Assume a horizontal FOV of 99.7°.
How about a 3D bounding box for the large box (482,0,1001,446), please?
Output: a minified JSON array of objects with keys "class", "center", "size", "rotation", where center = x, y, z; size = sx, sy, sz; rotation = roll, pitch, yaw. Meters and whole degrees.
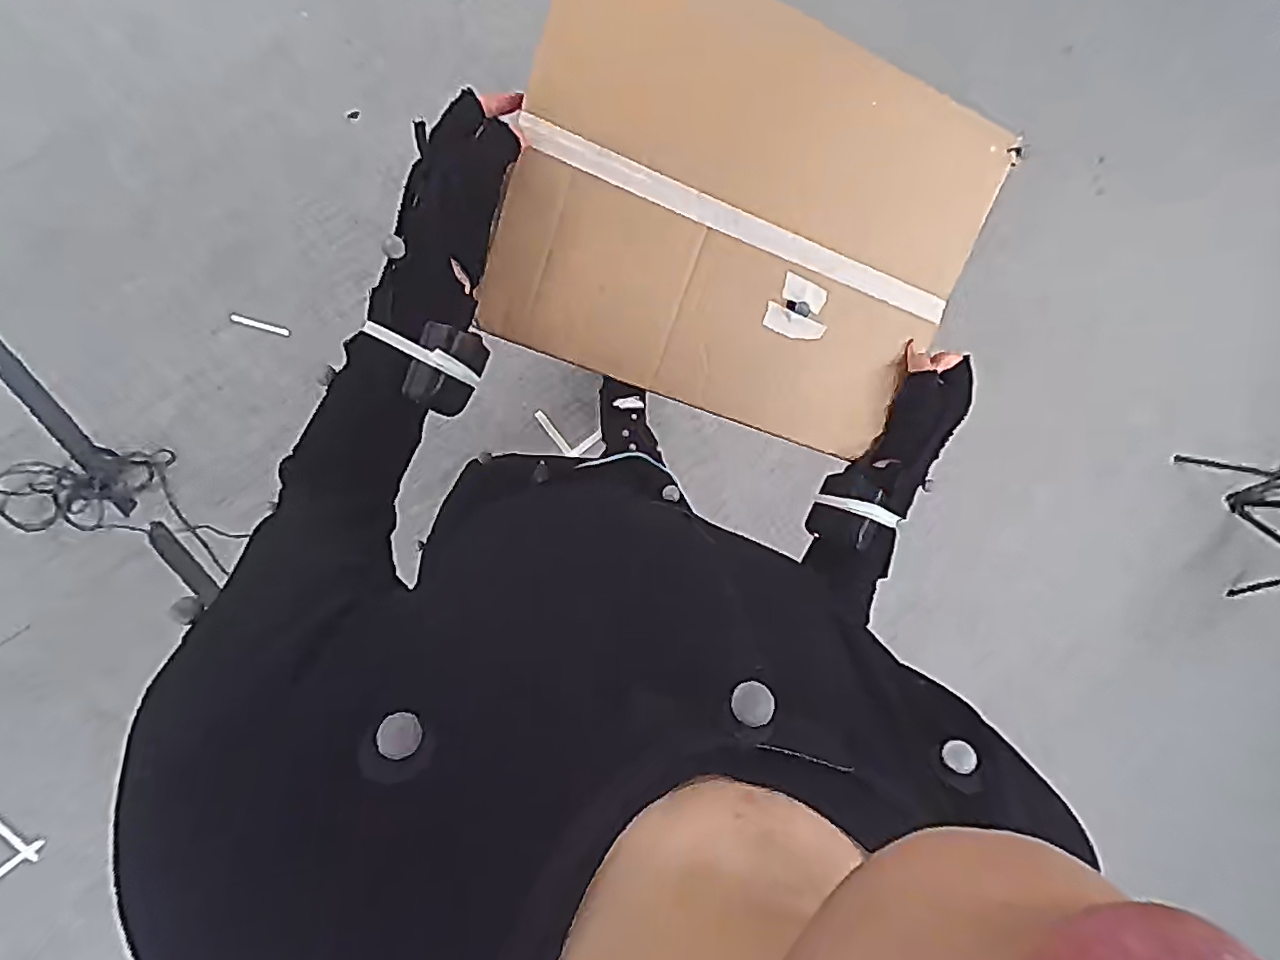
[{"class":"large box","center":[0.070,-0.269,0.616],"size":[0.408,0.320,0.320],"rotation":[17,105,-14]}]
